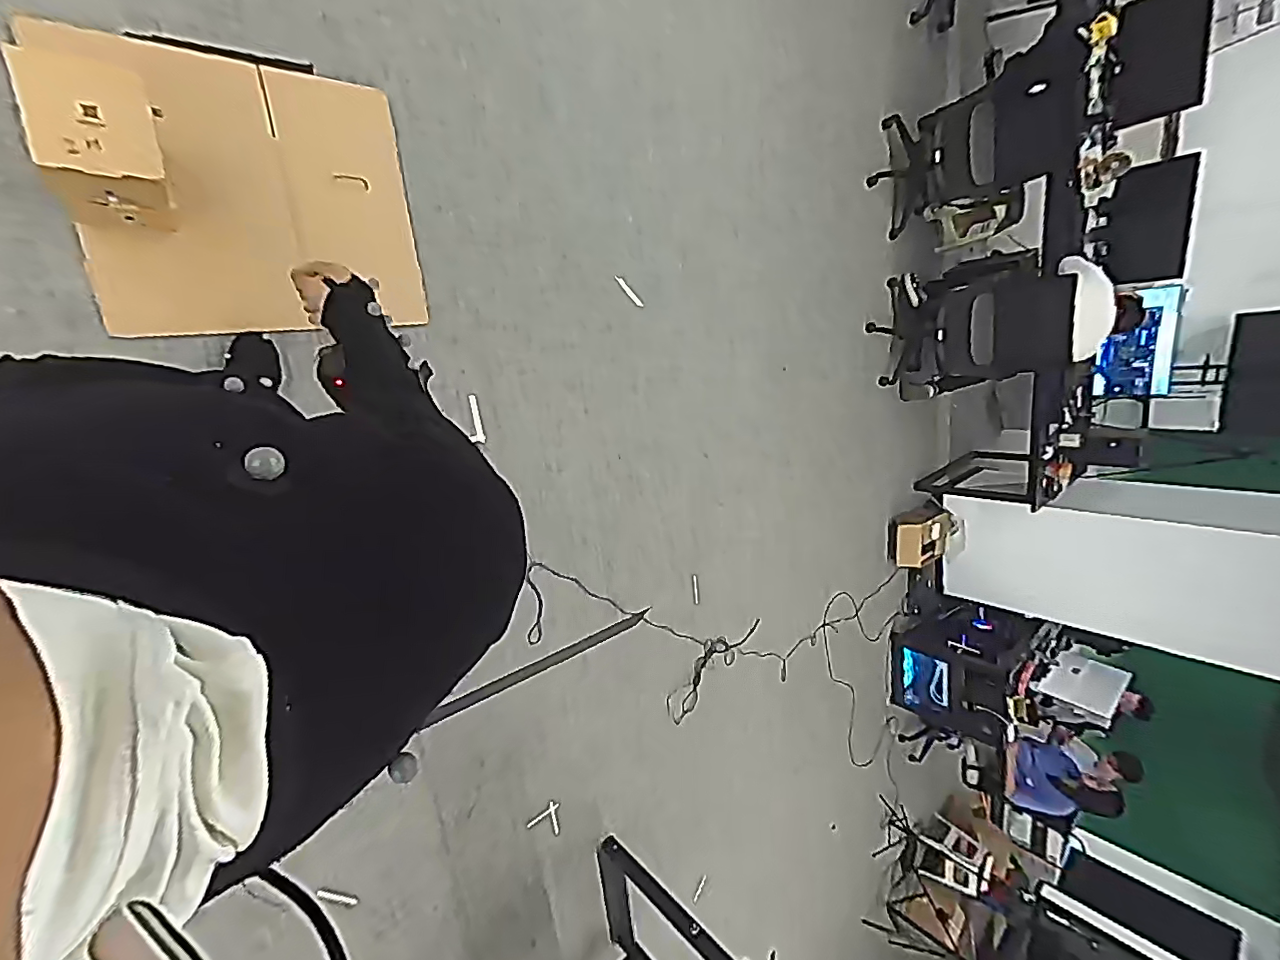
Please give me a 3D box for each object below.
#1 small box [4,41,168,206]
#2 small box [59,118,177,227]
[{"bbox_3d":[-0.953,-0.605,0.947,0.168,0.176,0.179,-12,104,-37],"label":"small box"},{"bbox_3d":[-1.050,-0.619,1.081,0.168,0.176,0.179,-14,106,-38],"label":"small box"}]
